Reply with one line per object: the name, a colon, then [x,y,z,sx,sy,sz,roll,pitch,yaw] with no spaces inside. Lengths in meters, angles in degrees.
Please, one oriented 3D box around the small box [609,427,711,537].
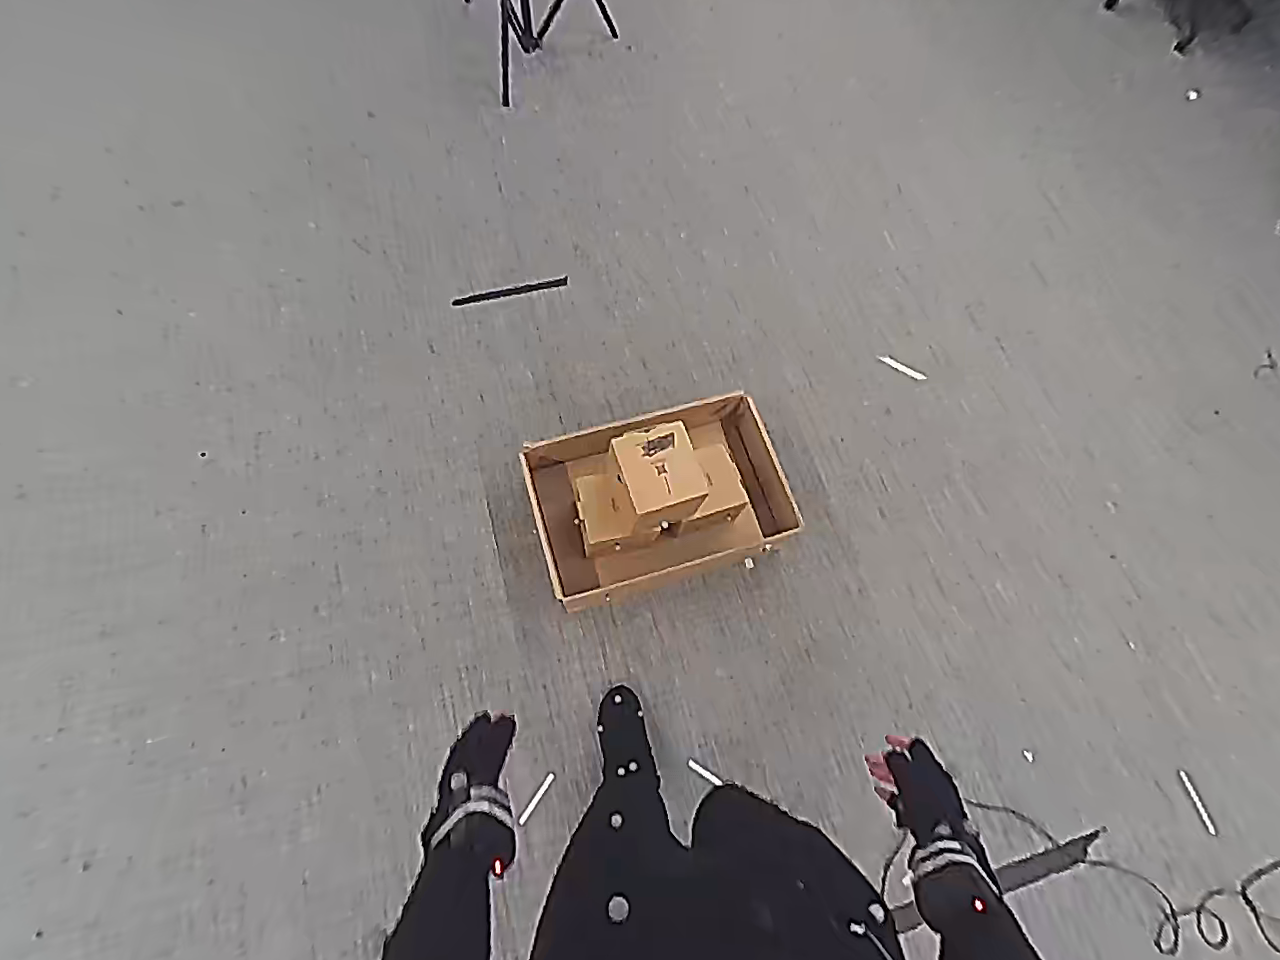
small box: [0.035,0.009,1.206,0.168,0.176,0.179,-16,72,-13]
